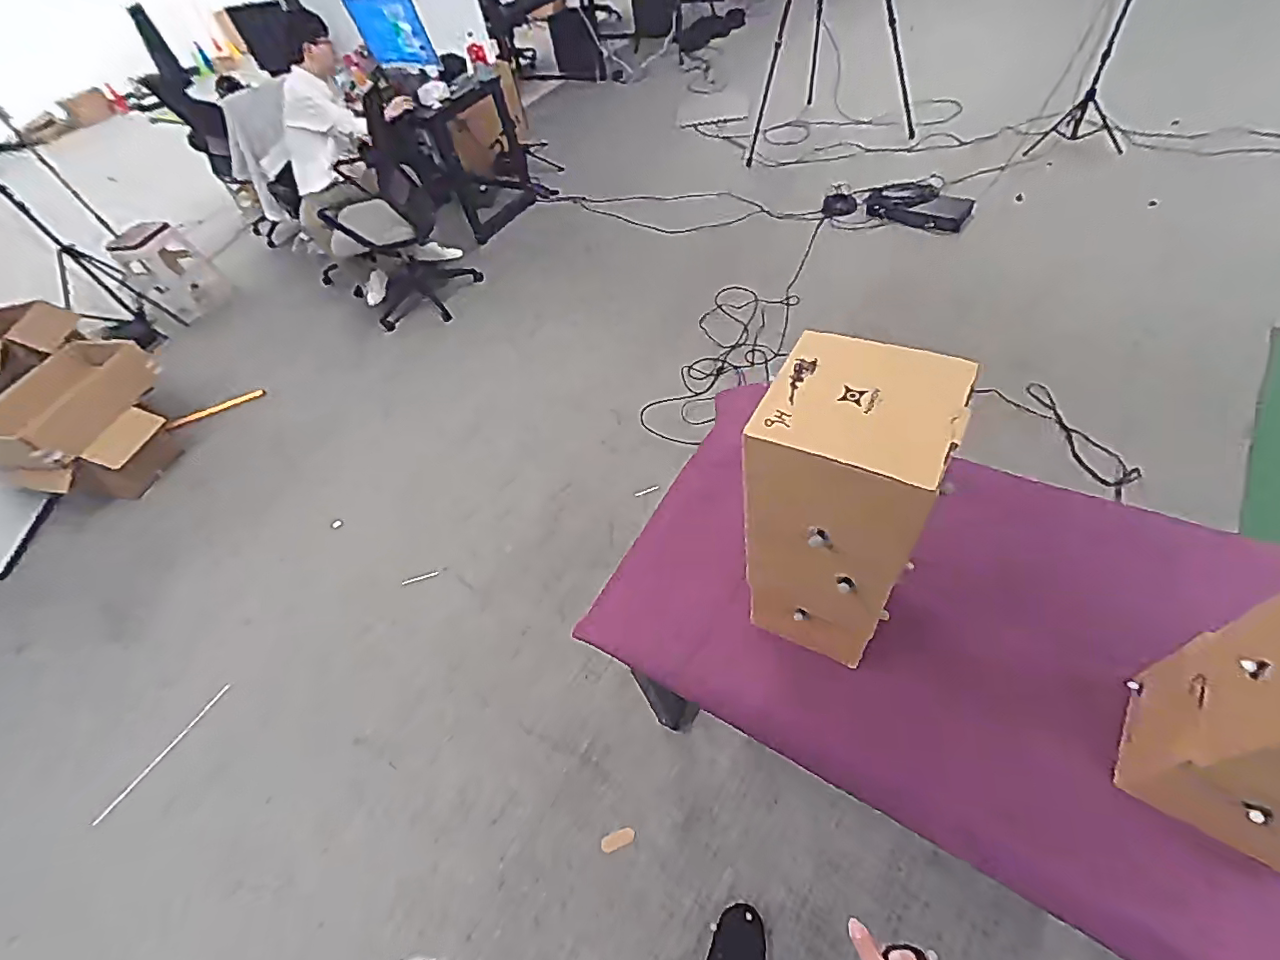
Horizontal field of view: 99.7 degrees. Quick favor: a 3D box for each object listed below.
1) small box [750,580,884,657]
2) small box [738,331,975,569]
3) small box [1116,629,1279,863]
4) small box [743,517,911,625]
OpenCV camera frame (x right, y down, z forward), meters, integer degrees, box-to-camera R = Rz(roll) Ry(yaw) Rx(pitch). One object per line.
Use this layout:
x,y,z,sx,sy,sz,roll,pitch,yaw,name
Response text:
0.288,0.154,0.848,0.179,0.176,0.168,19,60,26,small box
0.221,-0.027,0.581,0.179,0.176,0.168,21,60,26,small box
0.705,0.311,0.626,0.179,0.176,0.168,25,62,28,small box
0.252,0.067,0.711,0.179,0.176,0.168,21,60,27,small box
